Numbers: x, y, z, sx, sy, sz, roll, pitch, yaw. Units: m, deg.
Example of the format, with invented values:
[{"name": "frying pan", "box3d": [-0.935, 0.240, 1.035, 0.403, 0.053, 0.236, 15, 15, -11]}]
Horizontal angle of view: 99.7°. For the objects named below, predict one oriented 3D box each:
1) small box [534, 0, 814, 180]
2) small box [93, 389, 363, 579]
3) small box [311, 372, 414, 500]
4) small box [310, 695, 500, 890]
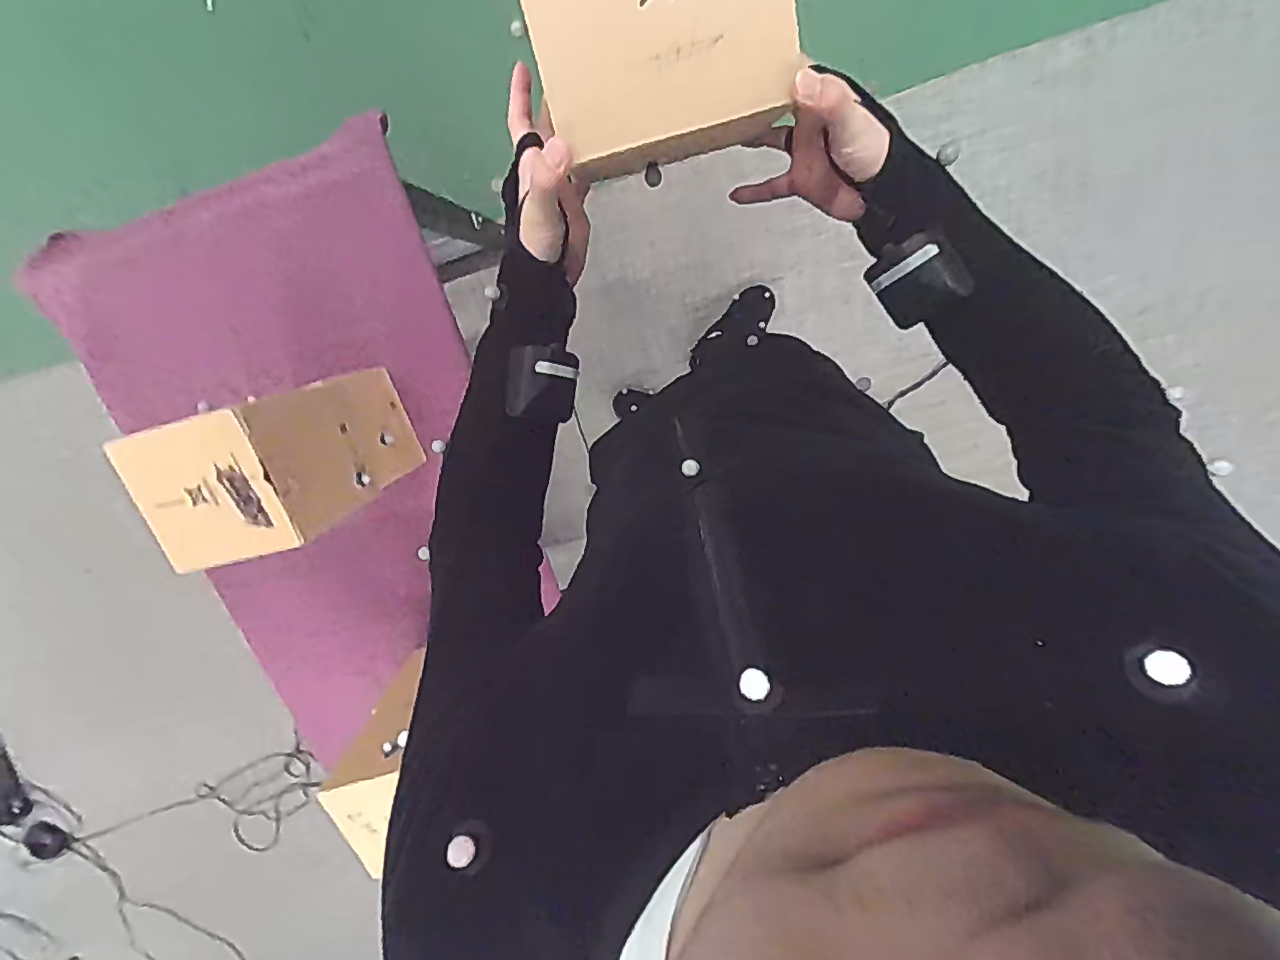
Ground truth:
[{"name": "small box", "box3d": [0.013, -0.336, 0.389, 0.168, 0.176, 0.179, -11, 115, 4]}, {"name": "small box", "box3d": [-0.473, -0.004, 0.659, 0.179, 0.176, 0.168, -12, 107, 10]}, {"name": "small box", "box3d": [-0.470, -0.055, 0.817, 0.179, 0.176, 0.168, -16, 107, 10]}, {"name": "small box", "box3d": [-0.325, 0.447, 0.796, 0.179, 0.176, 0.168, -19, 105, 9]}]
